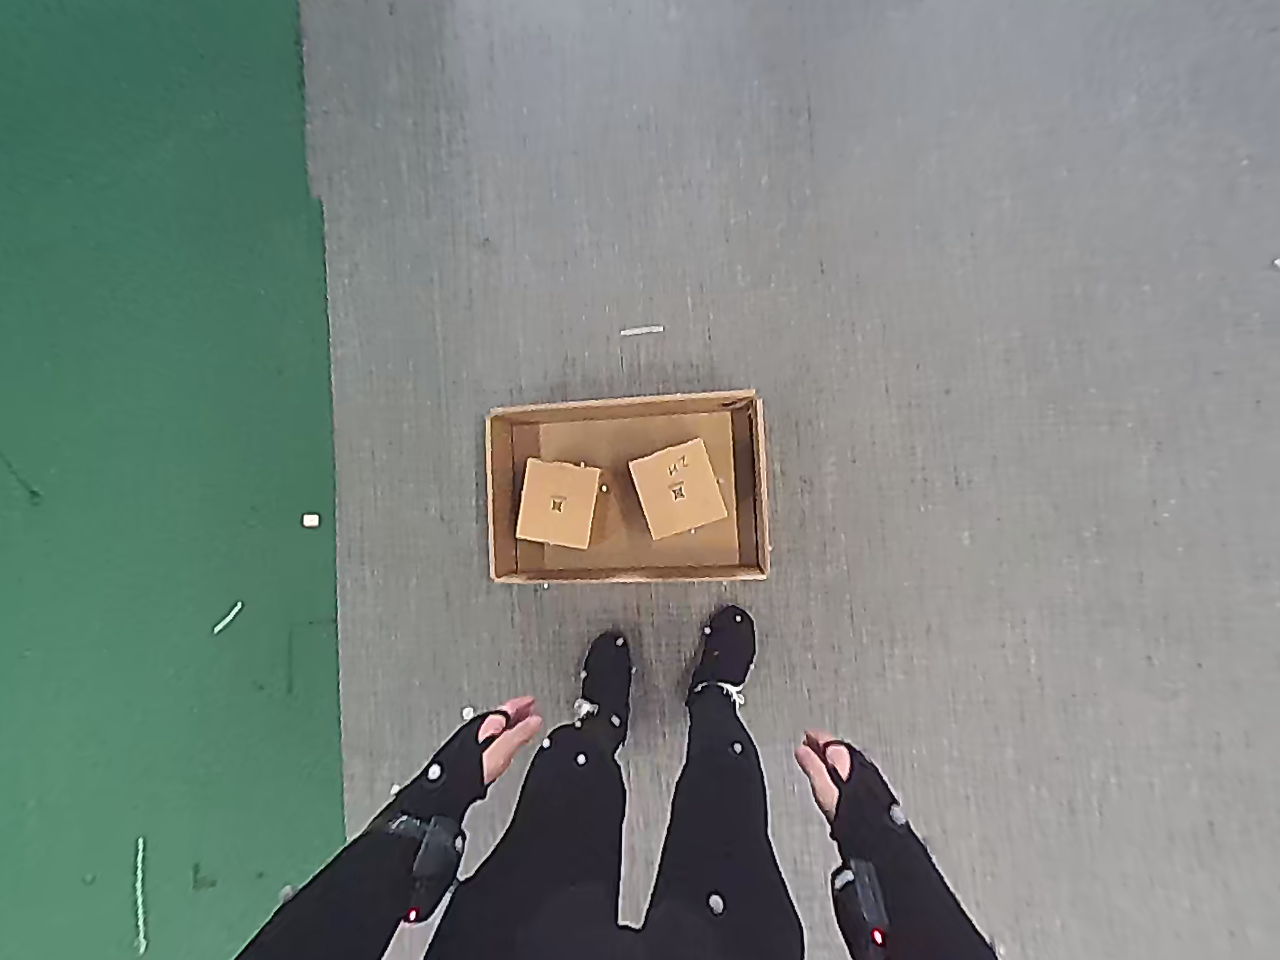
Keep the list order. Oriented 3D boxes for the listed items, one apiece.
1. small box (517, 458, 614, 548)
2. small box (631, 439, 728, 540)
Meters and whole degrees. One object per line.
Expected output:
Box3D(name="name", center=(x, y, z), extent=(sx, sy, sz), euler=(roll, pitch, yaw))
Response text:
Box3D(name="small box", center=(-0.163, 0.053, 1.238), extent=(0.168, 0.176, 0.179), euler=(9, 88, 9))
Box3D(name="small box", center=(0.095, 0.022, 1.198), extent=(0.168, 0.176, 0.179), euler=(-18, 85, 8))
